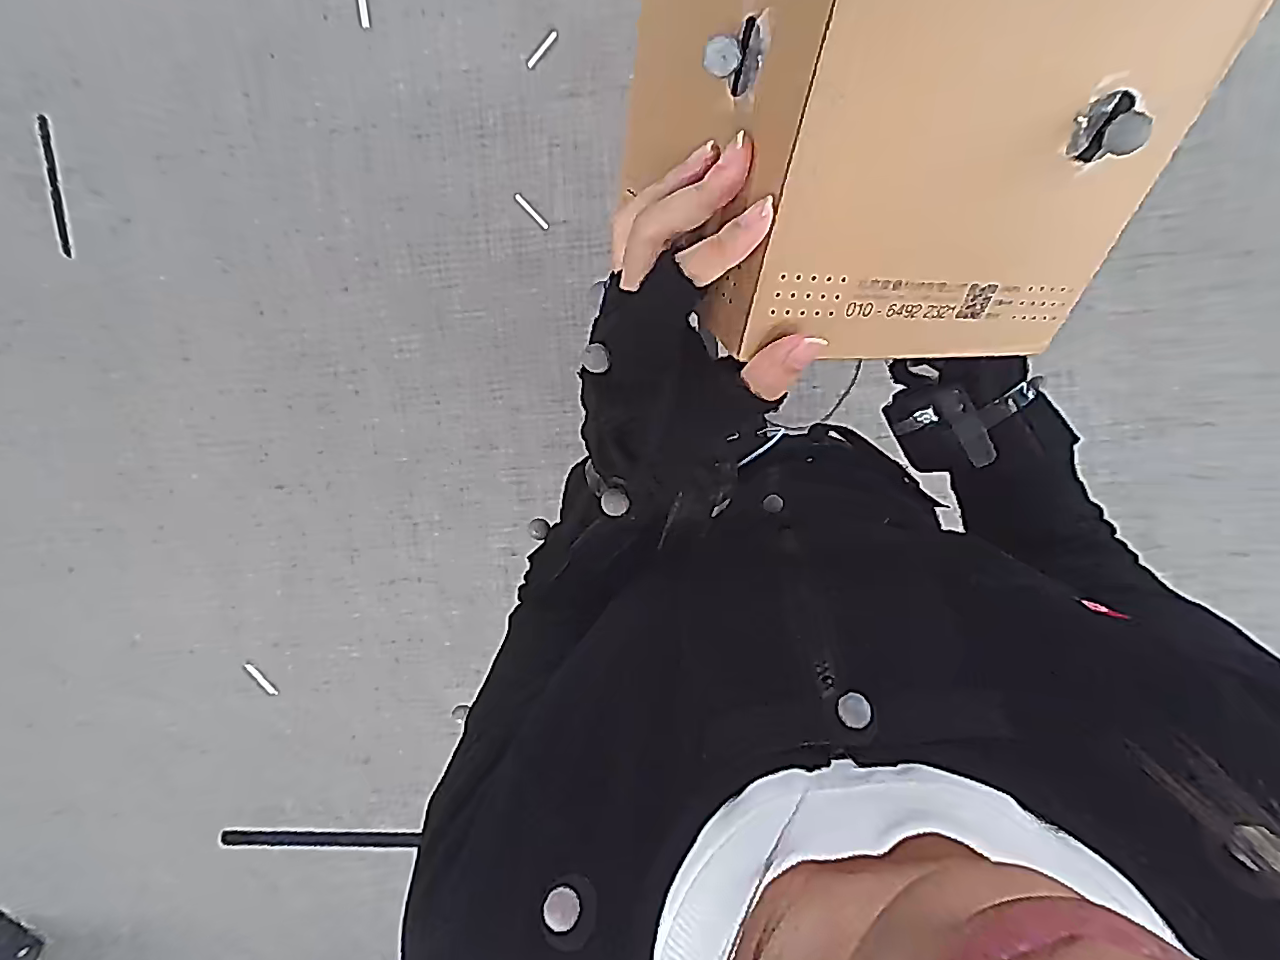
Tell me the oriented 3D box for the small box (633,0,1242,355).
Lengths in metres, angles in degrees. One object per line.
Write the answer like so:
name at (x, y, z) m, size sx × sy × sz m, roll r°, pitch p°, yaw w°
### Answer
small box at (0.104, -0.168, 0.248) m, size 0.168 × 0.179 × 0.176 m, roll -4°, pitch 130°, yaw -19°
